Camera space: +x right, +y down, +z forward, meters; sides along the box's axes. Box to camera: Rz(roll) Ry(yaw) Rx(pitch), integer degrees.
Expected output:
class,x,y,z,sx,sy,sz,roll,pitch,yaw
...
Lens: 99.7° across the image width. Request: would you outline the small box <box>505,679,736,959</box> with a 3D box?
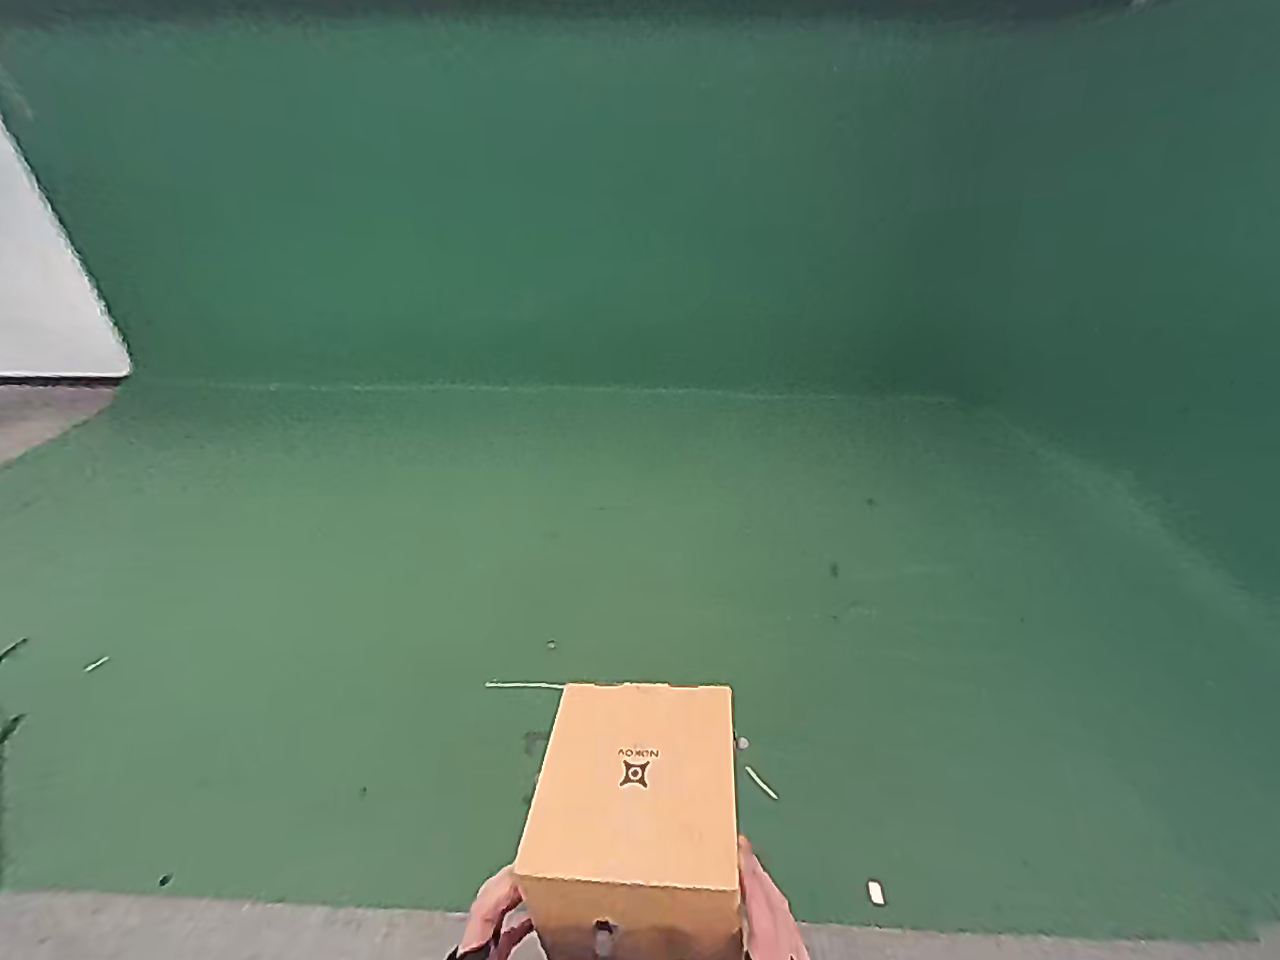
class,x,y,z,sx,sy,sz,roll,pitch,yaw
small box,-0.001,0.307,0.489,0.168,0.176,0.179,-2,28,7
